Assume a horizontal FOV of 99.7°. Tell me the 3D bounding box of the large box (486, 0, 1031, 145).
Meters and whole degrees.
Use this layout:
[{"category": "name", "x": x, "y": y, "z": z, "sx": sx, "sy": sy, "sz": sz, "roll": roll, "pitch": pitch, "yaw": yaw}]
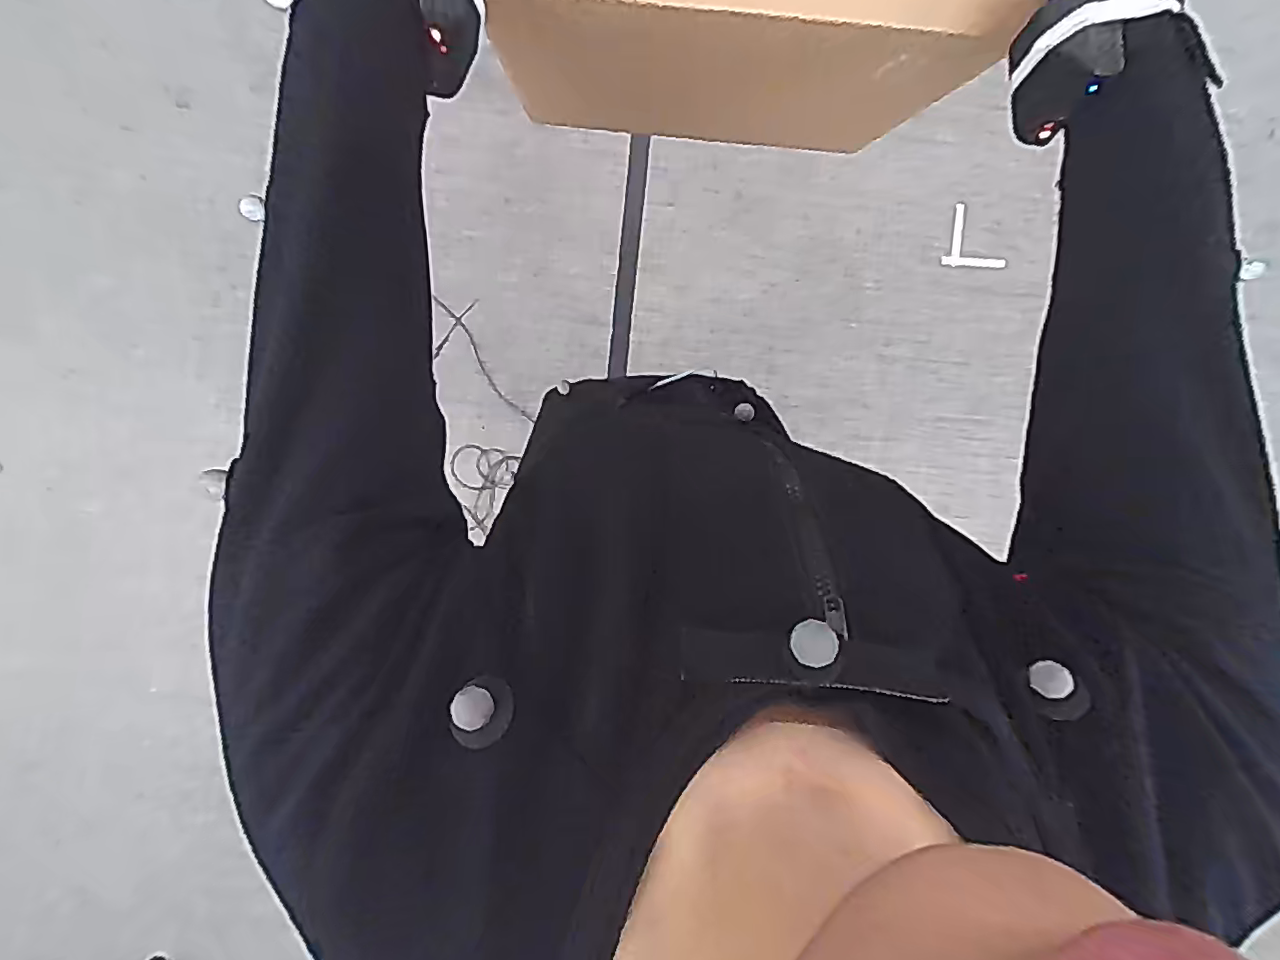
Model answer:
[{"category": "large box", "x": 0.083, "y": -0.522, "z": 0.477, "sx": 0.408, "sy": 0.320, "sz": 0.320, "roll": 3, "pitch": 109, "yaw": -4}]
